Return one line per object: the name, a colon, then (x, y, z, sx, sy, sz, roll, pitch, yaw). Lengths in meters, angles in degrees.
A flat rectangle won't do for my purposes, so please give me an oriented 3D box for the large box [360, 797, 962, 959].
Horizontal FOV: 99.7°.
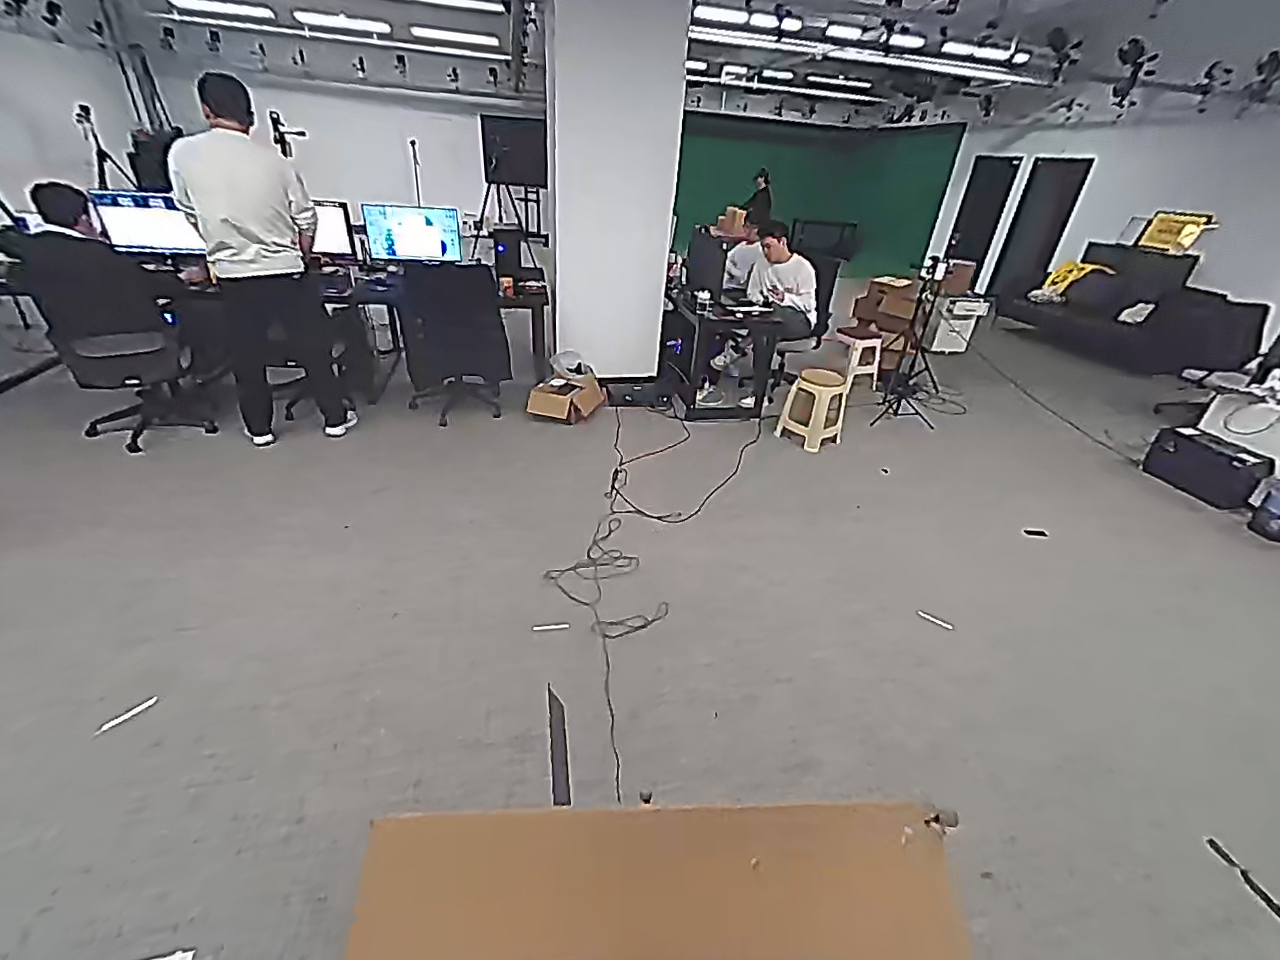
large box: (0.011, 0.454, 0.446, 0.408, 0.320, 0.320, 0, 60, -4)
